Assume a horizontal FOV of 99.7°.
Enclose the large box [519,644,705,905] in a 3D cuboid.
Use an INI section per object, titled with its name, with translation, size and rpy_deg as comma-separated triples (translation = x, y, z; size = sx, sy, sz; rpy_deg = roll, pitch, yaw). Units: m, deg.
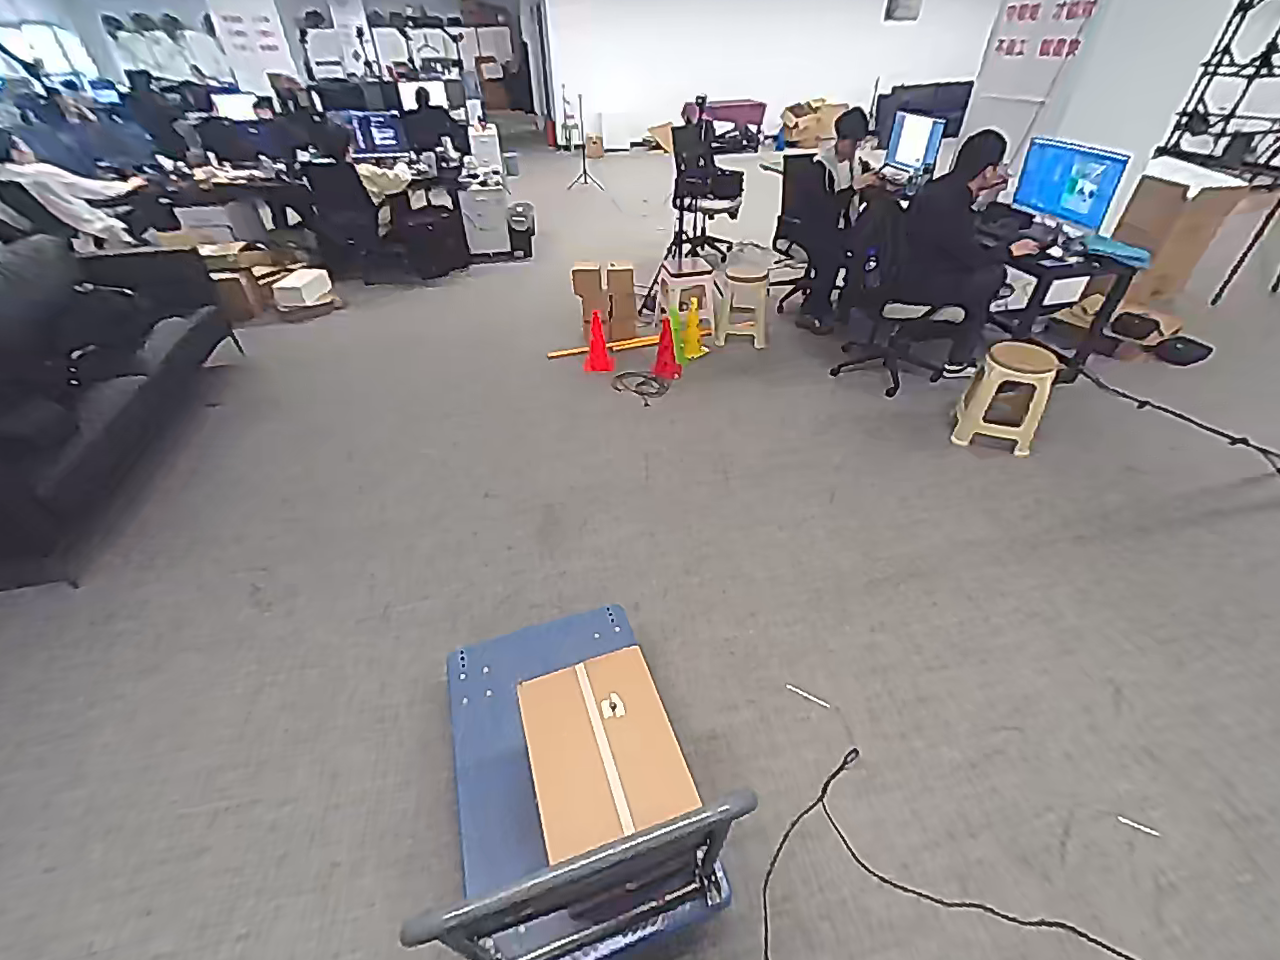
[large box]
translation = -0.073, 0.681, 1.283
size = 0.320, 0.320, 0.408
rpy_deg = -14, 41, -14
